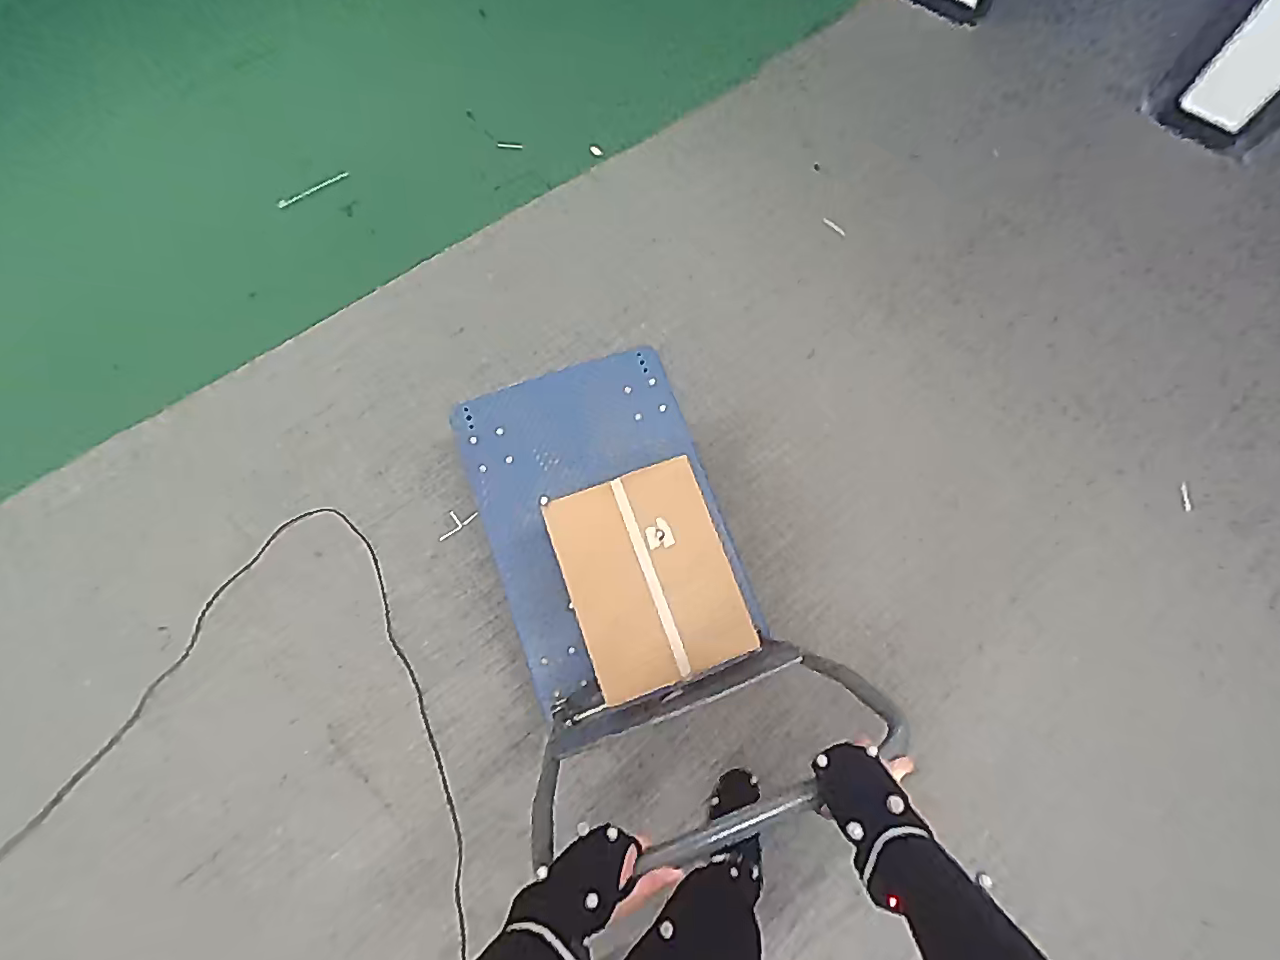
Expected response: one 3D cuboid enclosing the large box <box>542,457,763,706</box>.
[{"bbox_3d":[0.015,0.217,1.182,0.320,0.320,0.408,-20,78,-8],"label":"large box"}]
